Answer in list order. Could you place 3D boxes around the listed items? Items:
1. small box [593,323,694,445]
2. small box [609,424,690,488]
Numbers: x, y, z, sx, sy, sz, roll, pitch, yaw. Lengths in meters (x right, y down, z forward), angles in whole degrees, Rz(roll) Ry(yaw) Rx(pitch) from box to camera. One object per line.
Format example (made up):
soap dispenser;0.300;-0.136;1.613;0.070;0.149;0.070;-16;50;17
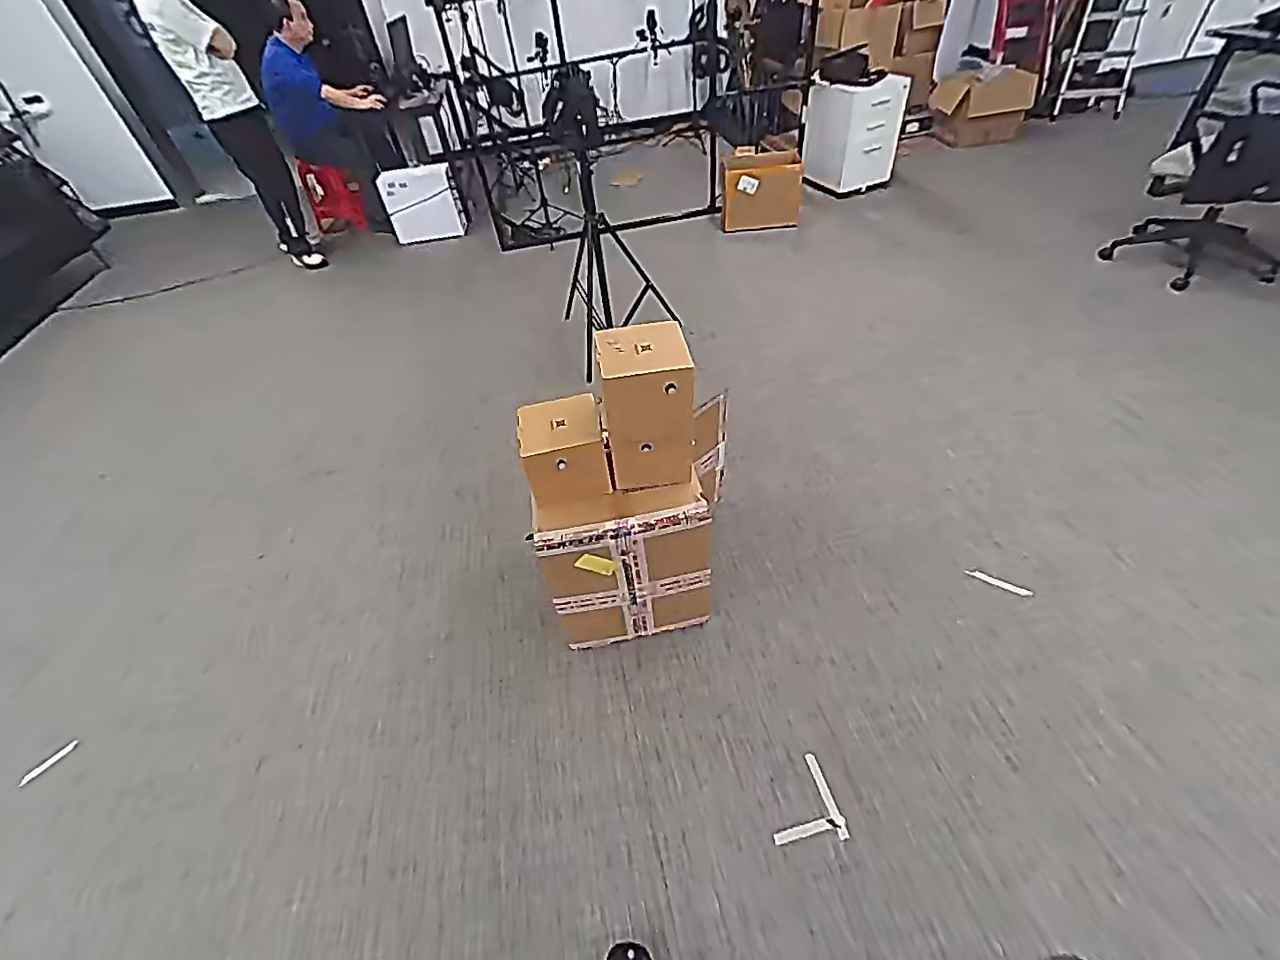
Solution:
small box;0.006;-0.191;1.094;0.179;0.176;0.168;-9;47;-3
small box;0.018;-0.097;1.230;0.179;0.176;0.168;-6;47;-1
